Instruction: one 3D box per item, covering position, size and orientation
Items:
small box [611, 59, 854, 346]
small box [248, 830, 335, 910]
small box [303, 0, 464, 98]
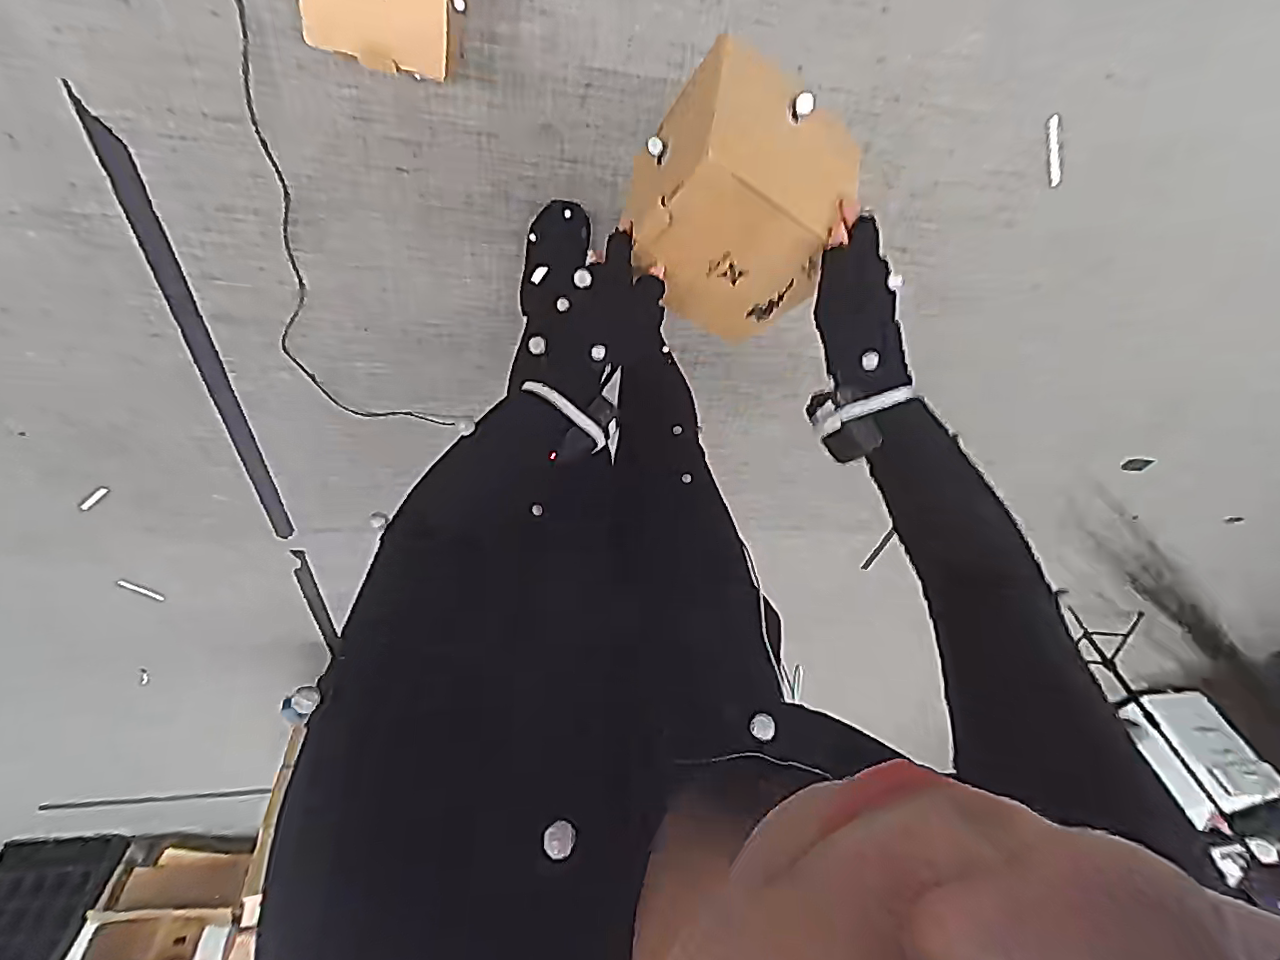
[{"bbox_3d":[0.095,-0.278,0.556,0.179,0.176,0.168,21,155,-24],"label":"small box"},{"bbox_3d":[-1.039,1.171,1.628,0.168,0.176,0.179,7,134,-15],"label":"small box"},{"bbox_3d":[-0.317,-0.628,0.690,0.168,0.176,0.179,6,133,-16],"label":"small box"}]
